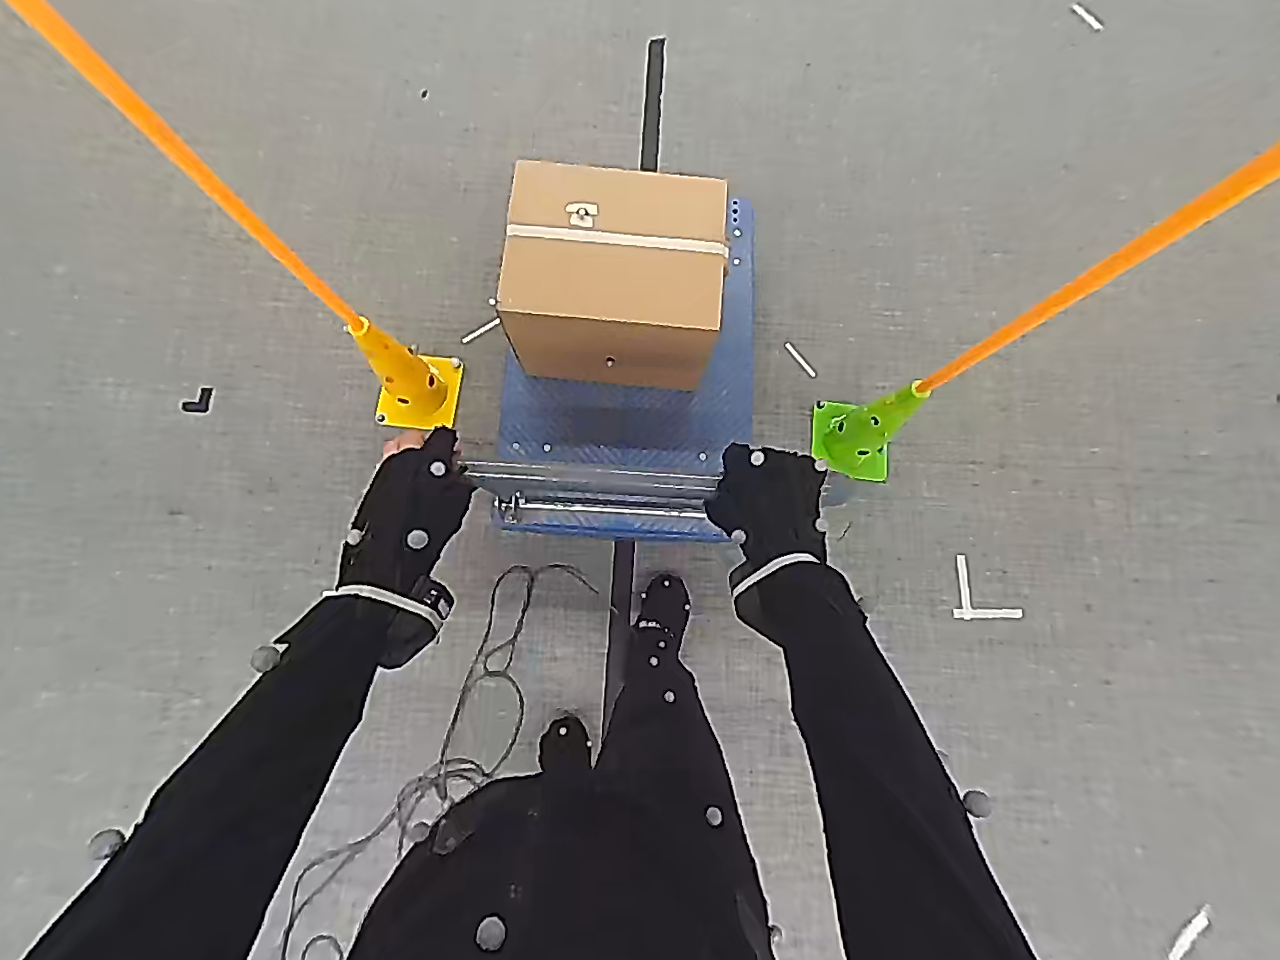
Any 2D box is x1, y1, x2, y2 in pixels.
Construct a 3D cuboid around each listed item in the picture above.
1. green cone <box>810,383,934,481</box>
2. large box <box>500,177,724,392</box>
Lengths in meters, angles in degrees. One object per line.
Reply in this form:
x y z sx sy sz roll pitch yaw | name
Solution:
0.561 -0.138 1.264 0.202 0.368 0.200 7 78 -1 | green cone
-0.047 -0.392 1.156 0.408 0.320 0.320 5 79 0 | large box
